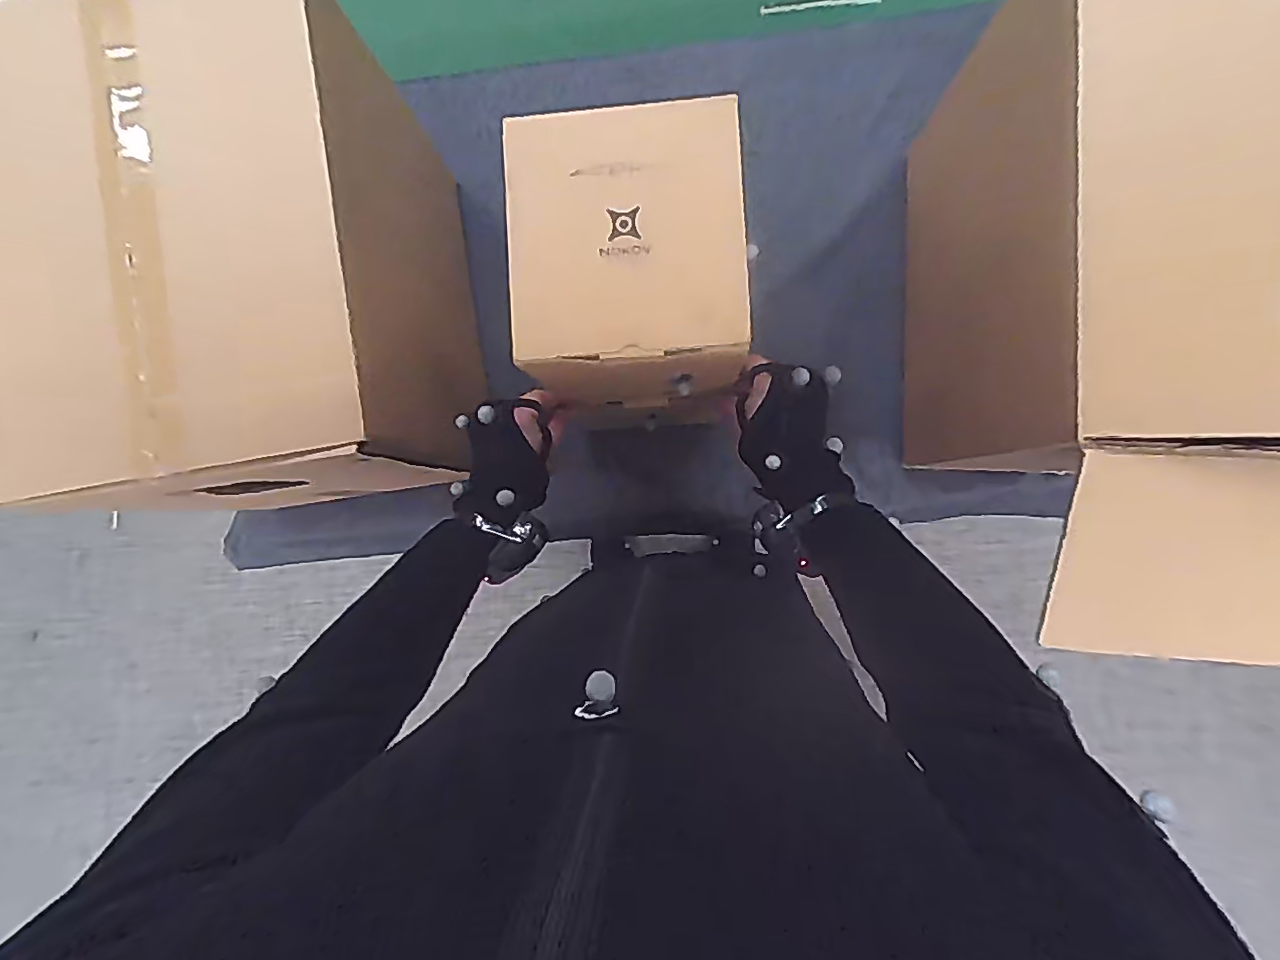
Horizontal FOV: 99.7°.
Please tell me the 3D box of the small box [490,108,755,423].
[{"bbox_3d":[-0.007,-0.142,0.425,0.168,0.176,0.179,-4,87,3],"label":"small box"}]
